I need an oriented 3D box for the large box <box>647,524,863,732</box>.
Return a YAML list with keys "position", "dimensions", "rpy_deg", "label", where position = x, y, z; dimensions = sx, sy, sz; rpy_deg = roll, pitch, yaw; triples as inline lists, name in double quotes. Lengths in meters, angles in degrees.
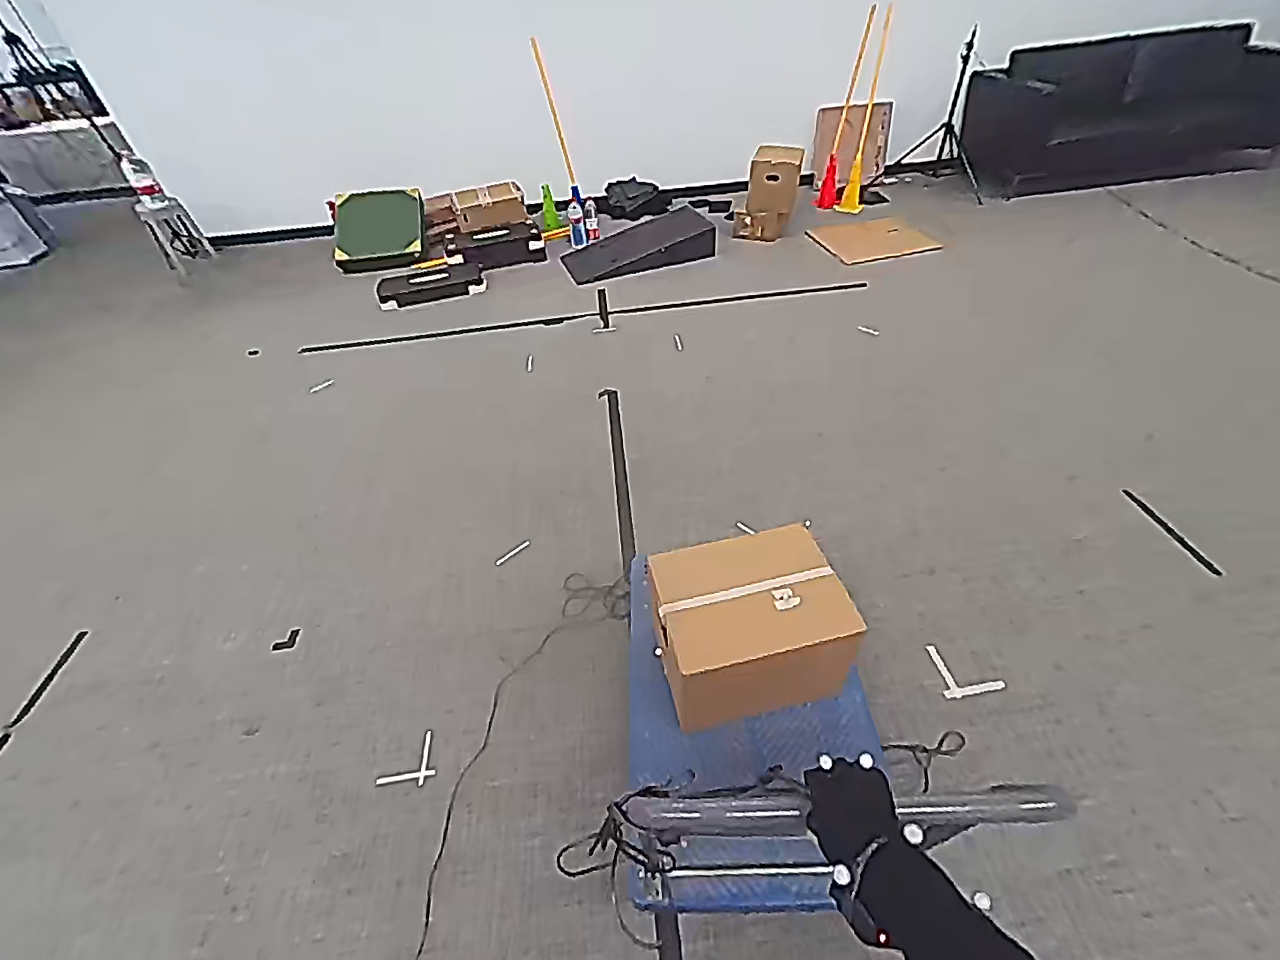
- position: [0.250, 0.356, 1.313]
  dimensions: [0.408, 0.320, 0.320]
  rpy_deg: [-11, 45, -7]
  label: "large box"
